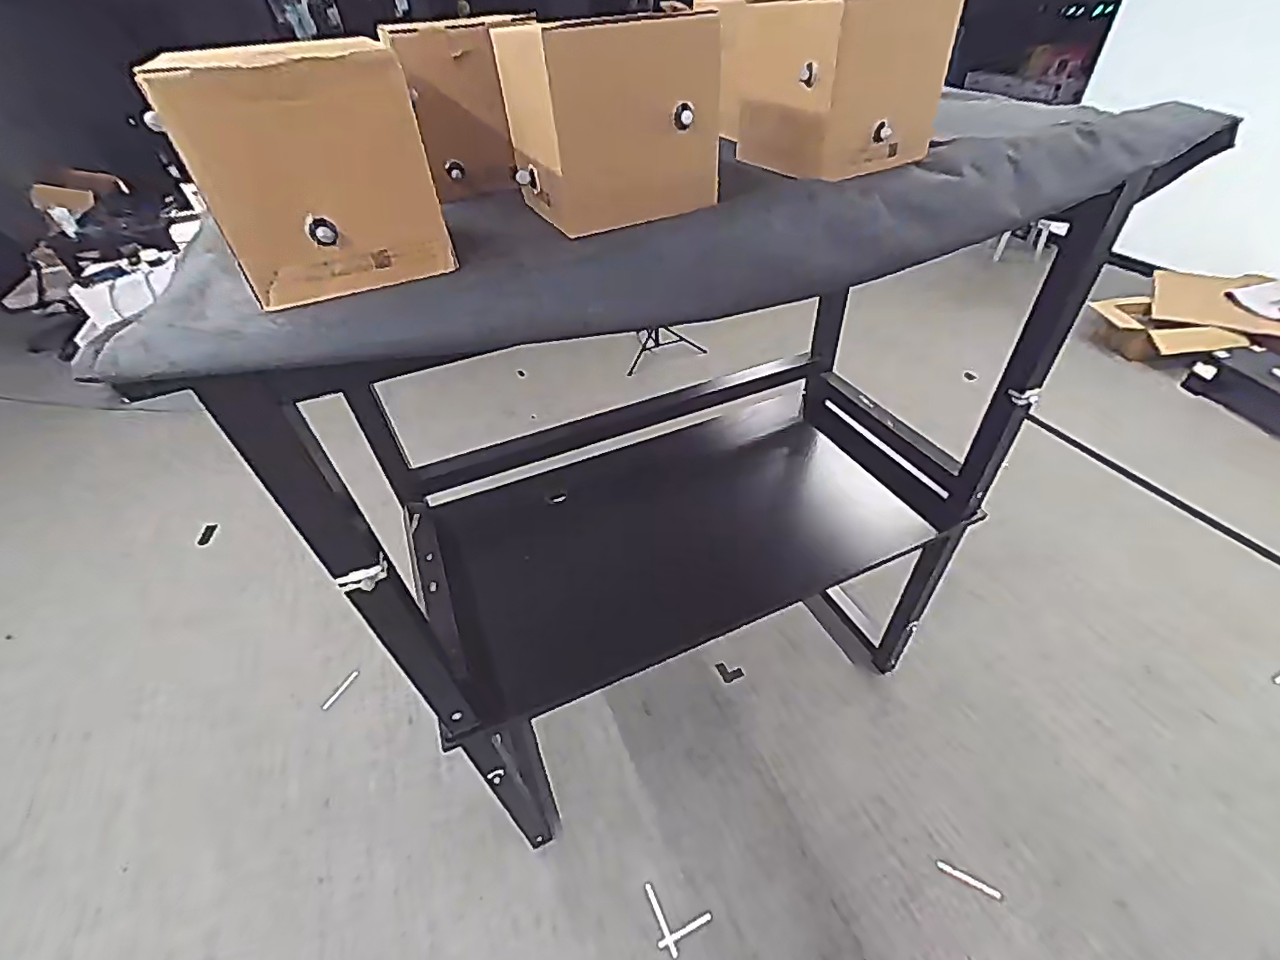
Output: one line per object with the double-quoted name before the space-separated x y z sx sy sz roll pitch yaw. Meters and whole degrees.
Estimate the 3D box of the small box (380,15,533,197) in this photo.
"small box" -0.217 -0.480 0.699 0.168 0.176 0.179 -19 44 -15

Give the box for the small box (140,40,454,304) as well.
"small box" -0.285 -0.279 0.485 0.168 0.176 0.179 -22 46 -18

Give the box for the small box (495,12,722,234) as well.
"small box" -0.034 -0.377 0.570 0.179 0.176 0.168 -20 42 -18
